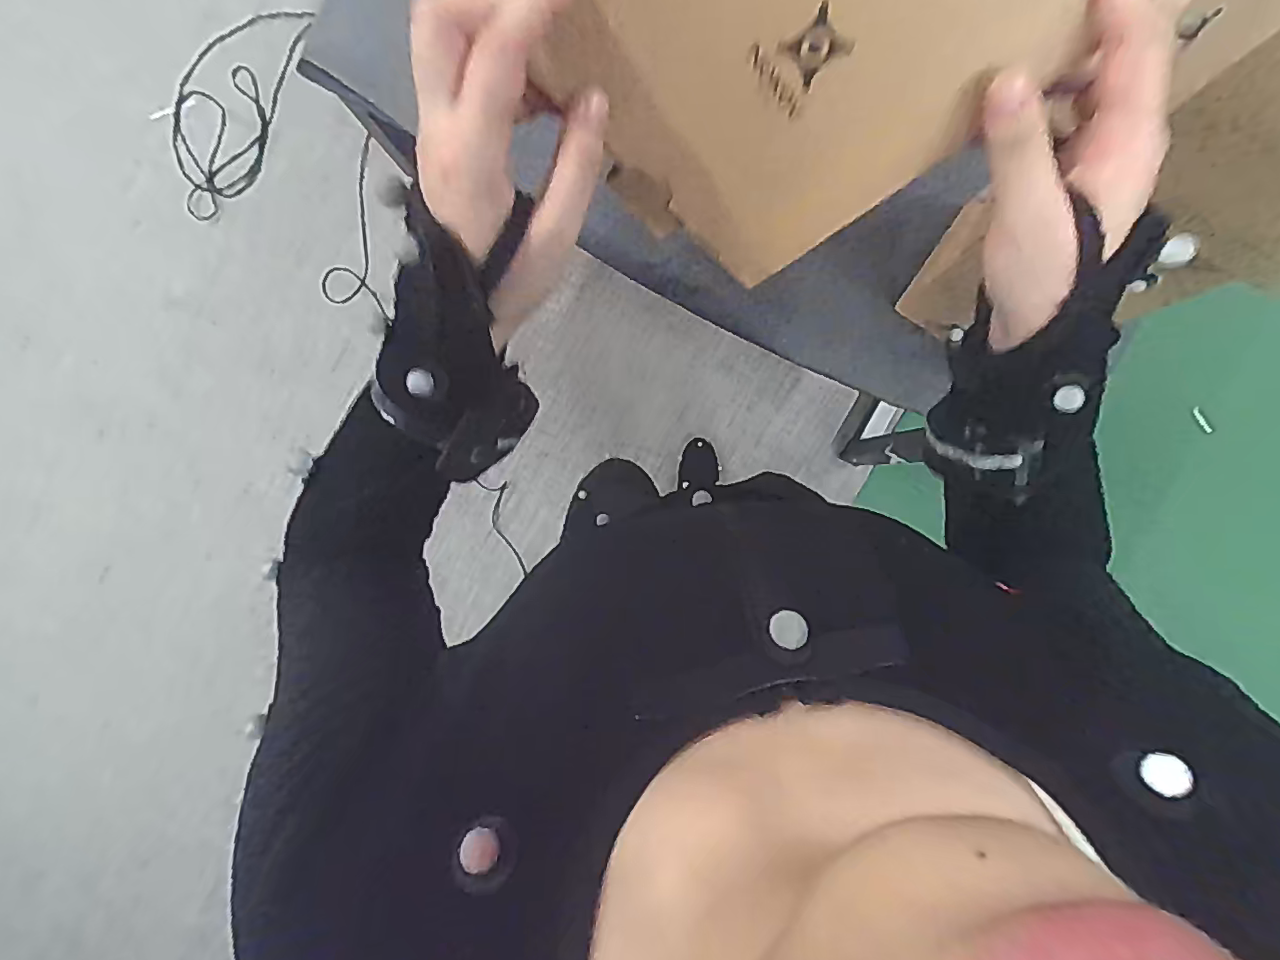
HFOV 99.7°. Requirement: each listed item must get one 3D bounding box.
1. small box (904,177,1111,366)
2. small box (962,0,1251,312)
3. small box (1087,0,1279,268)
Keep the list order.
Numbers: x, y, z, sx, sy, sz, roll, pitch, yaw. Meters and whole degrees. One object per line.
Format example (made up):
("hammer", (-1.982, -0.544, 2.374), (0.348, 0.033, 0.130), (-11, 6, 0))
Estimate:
("small box", (0.455, -0.264, 0.643), (0.168, 0.176, 0.179), (35, 90, 3))
("small box", (0.440, -0.274, 0.481), (0.179, 0.176, 0.168), (27, 88, 4))
("small box", (0.435, -0.254, 0.315), (0.179, 0.176, 0.168), (32, 88, 3))
